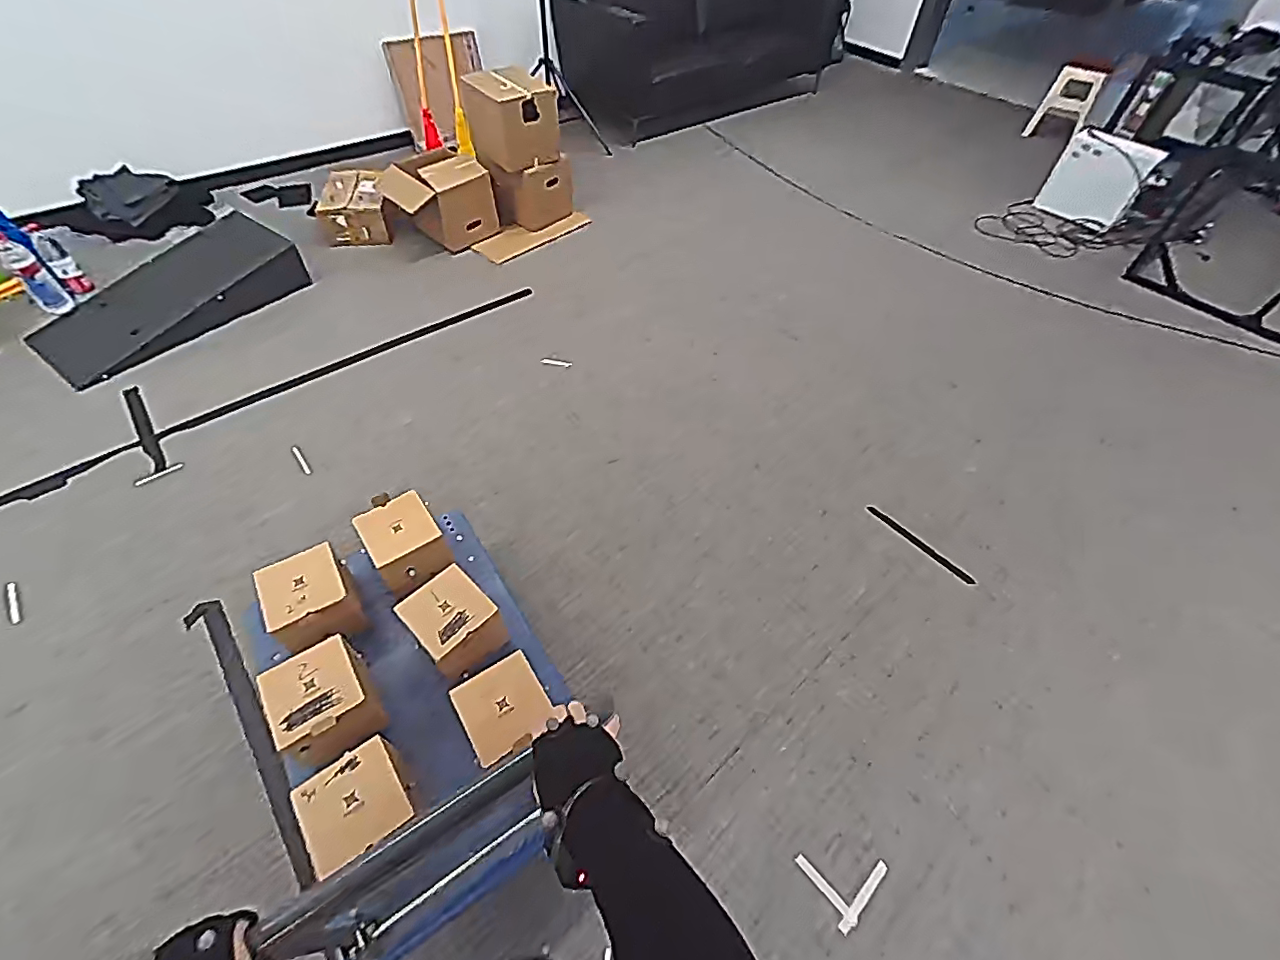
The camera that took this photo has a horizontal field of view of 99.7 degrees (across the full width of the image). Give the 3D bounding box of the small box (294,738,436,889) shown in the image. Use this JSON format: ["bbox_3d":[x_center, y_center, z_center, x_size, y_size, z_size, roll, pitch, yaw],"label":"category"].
[{"bbox_3d":[-0.514,0.635,1.030,0.168,0.176,0.179,-30,59,-26],"label":"small box"}]

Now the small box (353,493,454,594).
[{"bbox_3d":[-0.604,0.172,1.399,0.168,0.176,0.179,-30,59,-25],"label":"small box"}]

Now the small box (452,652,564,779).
[{"bbox_3d":[-0.274,0.507,1.153,0.168,0.176,0.179,-26,57,-24],"label":"small box"}]

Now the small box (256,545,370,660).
[{"bbox_3d":[-0.772,0.293,1.288,0.168,0.176,0.179,-26,58,-22],"label":"small box"}]

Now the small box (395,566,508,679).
[{"bbox_3d":[-0.433,0.343,1.272,0.179,0.176,0.168,36,58,24],"label":"small box"}]
